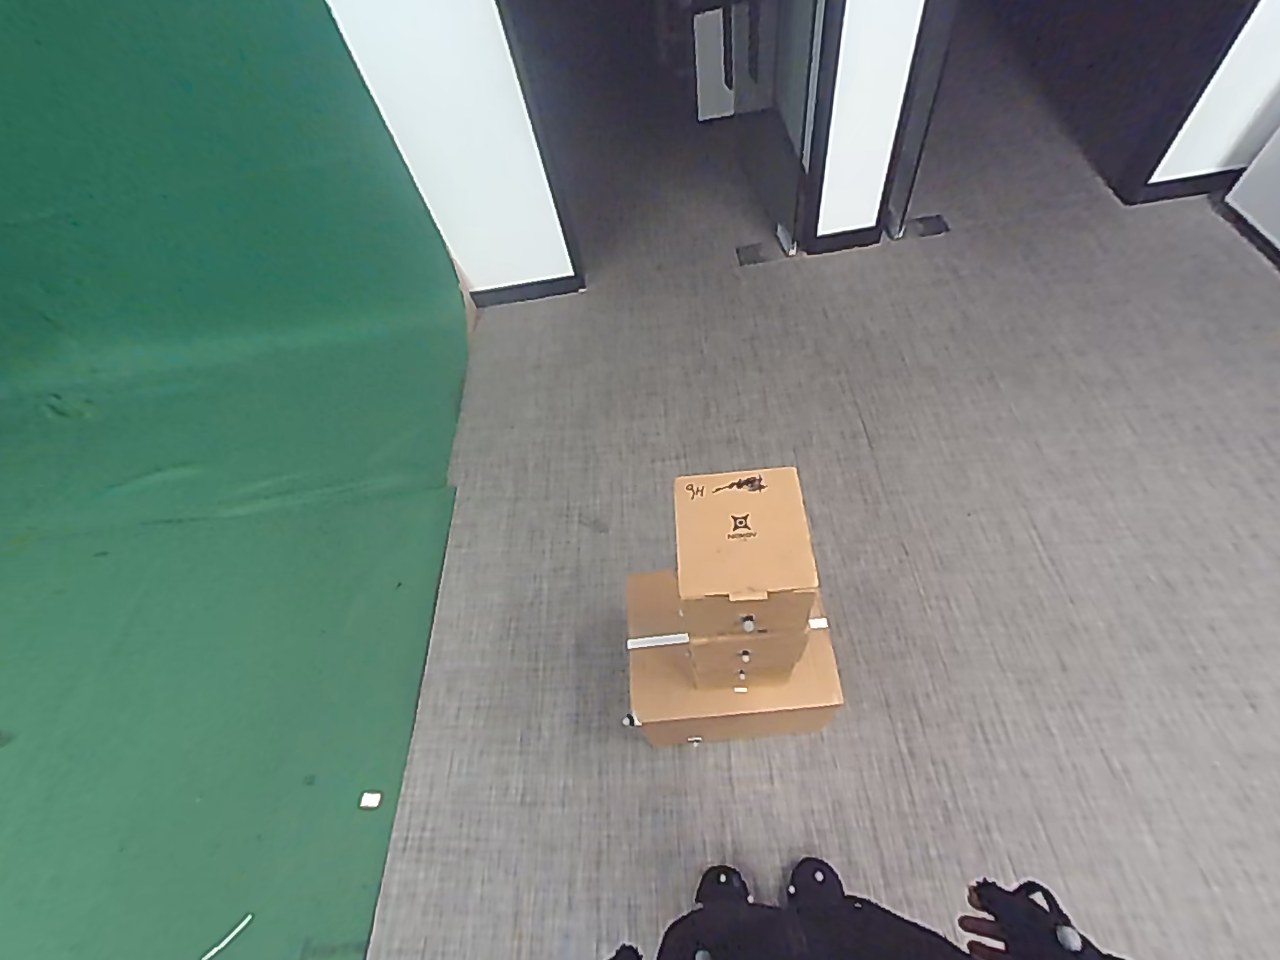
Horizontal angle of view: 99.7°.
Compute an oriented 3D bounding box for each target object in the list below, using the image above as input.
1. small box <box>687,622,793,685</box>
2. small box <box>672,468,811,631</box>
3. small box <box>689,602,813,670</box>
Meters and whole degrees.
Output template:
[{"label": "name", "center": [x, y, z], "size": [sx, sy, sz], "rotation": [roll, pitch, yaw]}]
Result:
[{"label": "small box", "center": [0.182, 0.284, 1.022], "size": [0.179, 0.176, 0.168], "rotation": [-6, 57, 6]}, {"label": "small box", "center": [0.137, 0.106, 0.751], "size": [0.168, 0.176, 0.179], "rotation": [-5, 58, 8]}, {"label": "small box", "center": [0.164, 0.201, 0.882], "size": [0.179, 0.176, 0.168], "rotation": [-9, 57, 4]}]
